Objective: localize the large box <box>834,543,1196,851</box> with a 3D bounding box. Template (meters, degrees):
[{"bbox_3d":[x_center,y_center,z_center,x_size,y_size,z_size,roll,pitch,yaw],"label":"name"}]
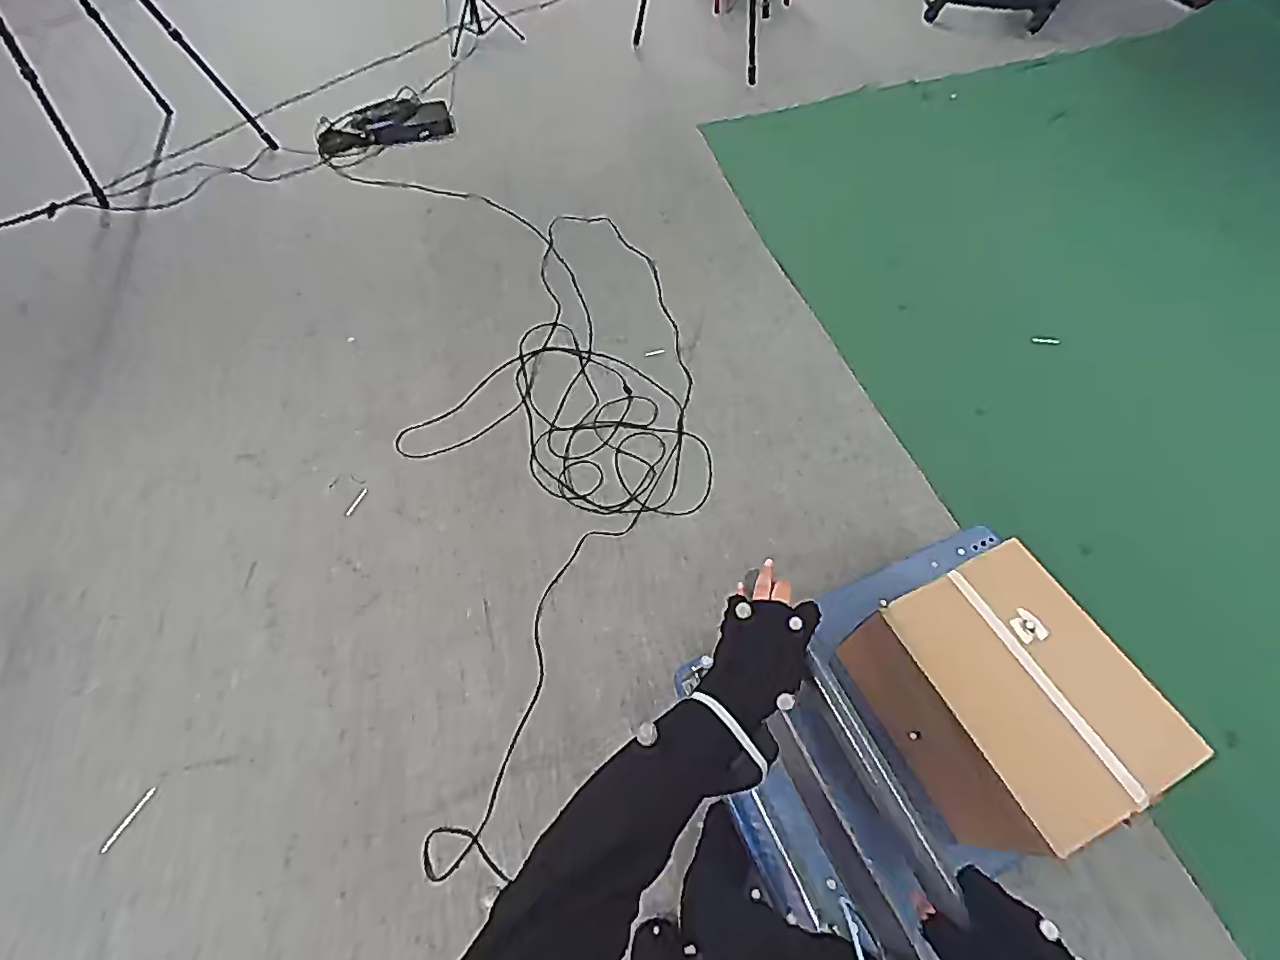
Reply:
[{"bbox_3d":[0.646,0.403,1.026,0.320,0.320,0.408,-23,60,-11],"label":"large box"}]
